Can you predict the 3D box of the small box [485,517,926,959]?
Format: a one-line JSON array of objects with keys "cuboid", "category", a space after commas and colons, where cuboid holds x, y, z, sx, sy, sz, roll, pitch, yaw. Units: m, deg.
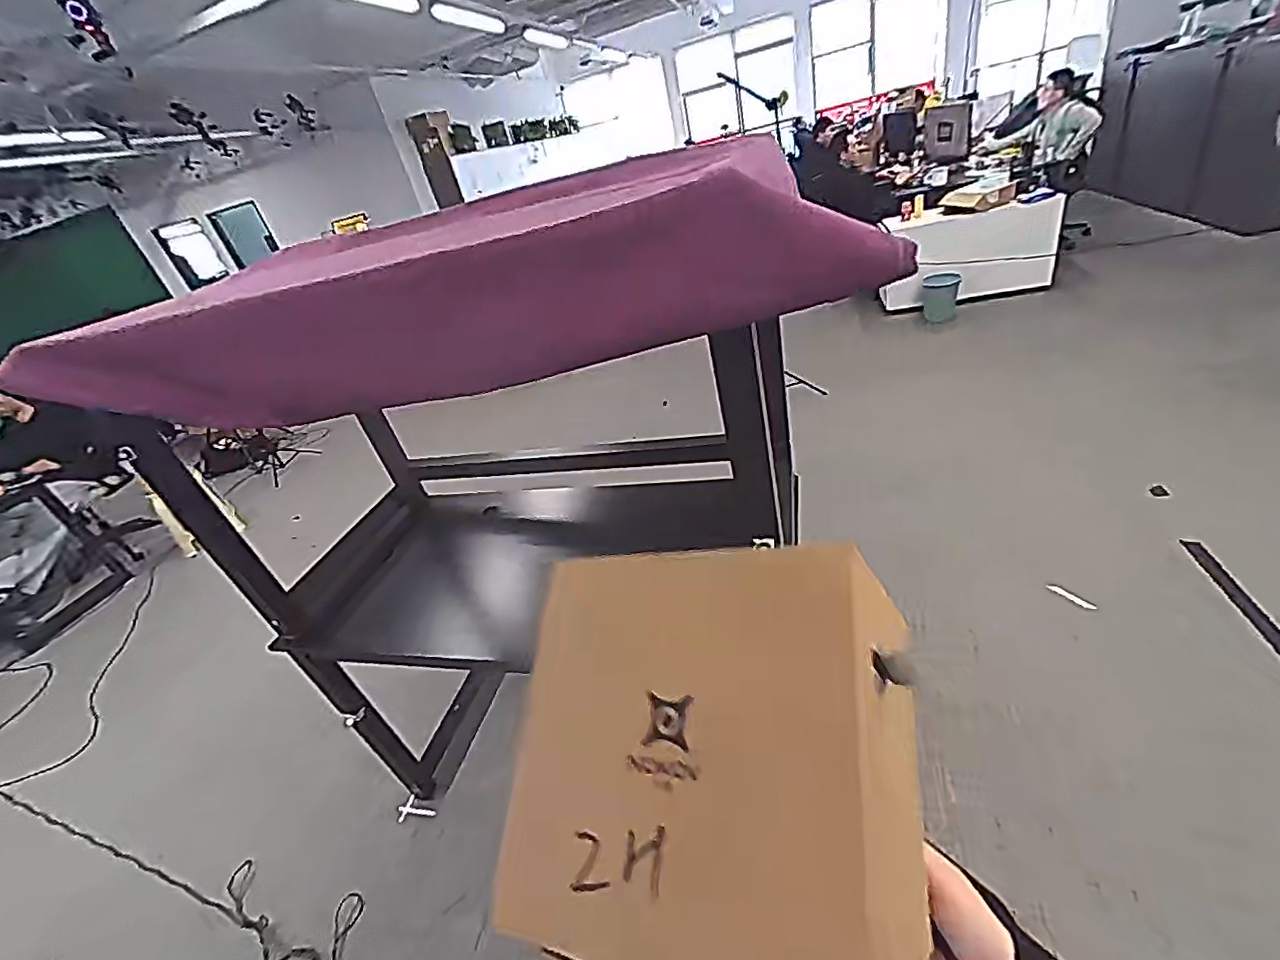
[{"cuboid": [0.050, 0.135, 0.294, 0.168, 0.176, 0.179, -8, 62, 30], "category": "small box"}]
